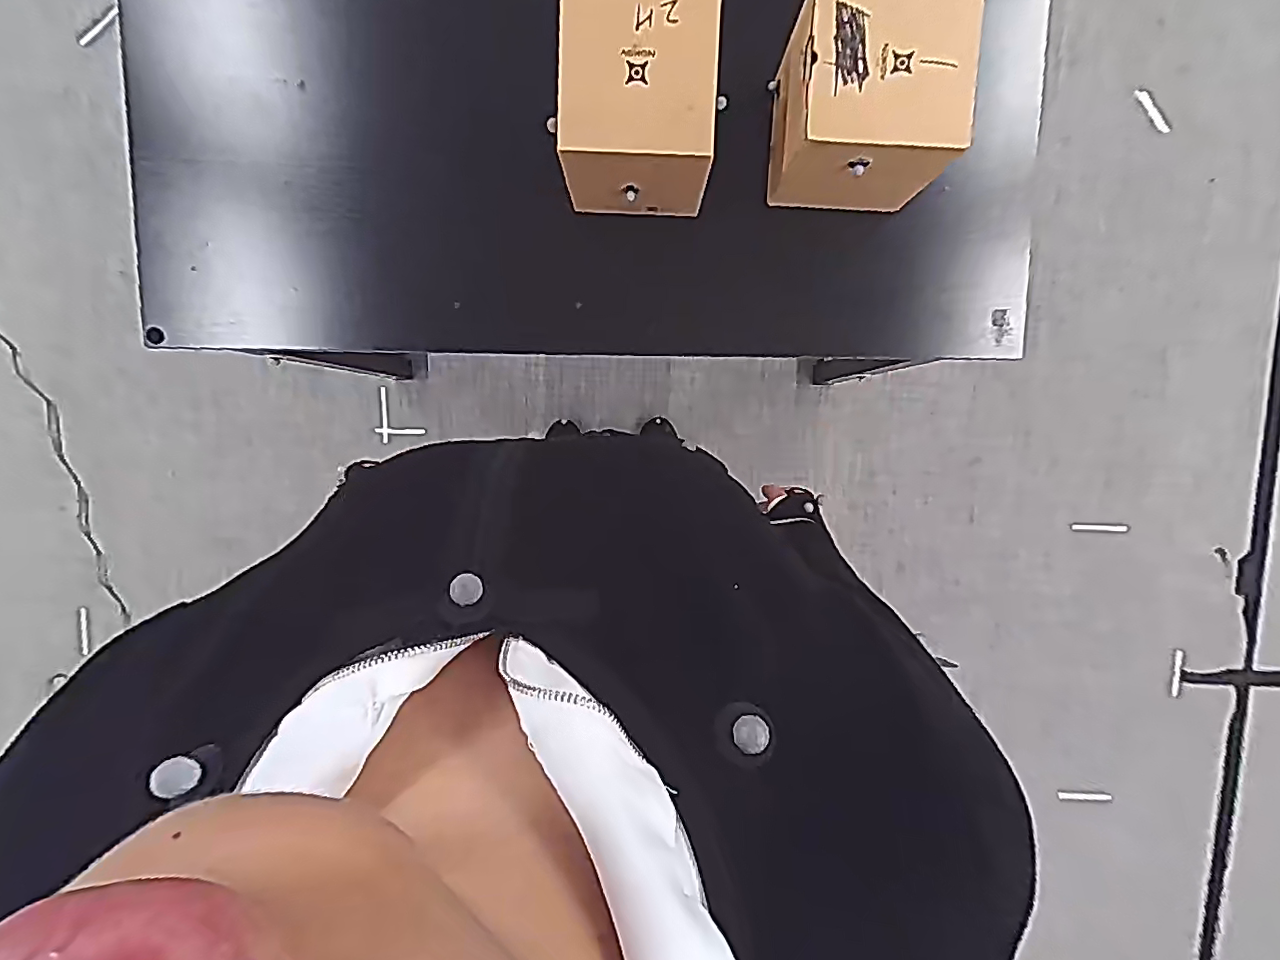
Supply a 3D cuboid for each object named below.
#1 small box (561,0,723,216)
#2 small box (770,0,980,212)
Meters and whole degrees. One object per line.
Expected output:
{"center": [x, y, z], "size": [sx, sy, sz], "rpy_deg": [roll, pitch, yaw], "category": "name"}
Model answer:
{"center": [0.002, -0.437, 0.647], "size": [0.168, 0.176, 0.179], "rpy_deg": [3, 95, -1], "category": "small box"}
{"center": [0.263, -0.439, 0.646], "size": [0.179, 0.176, 0.168], "rpy_deg": [3, 95, -1], "category": "small box"}
